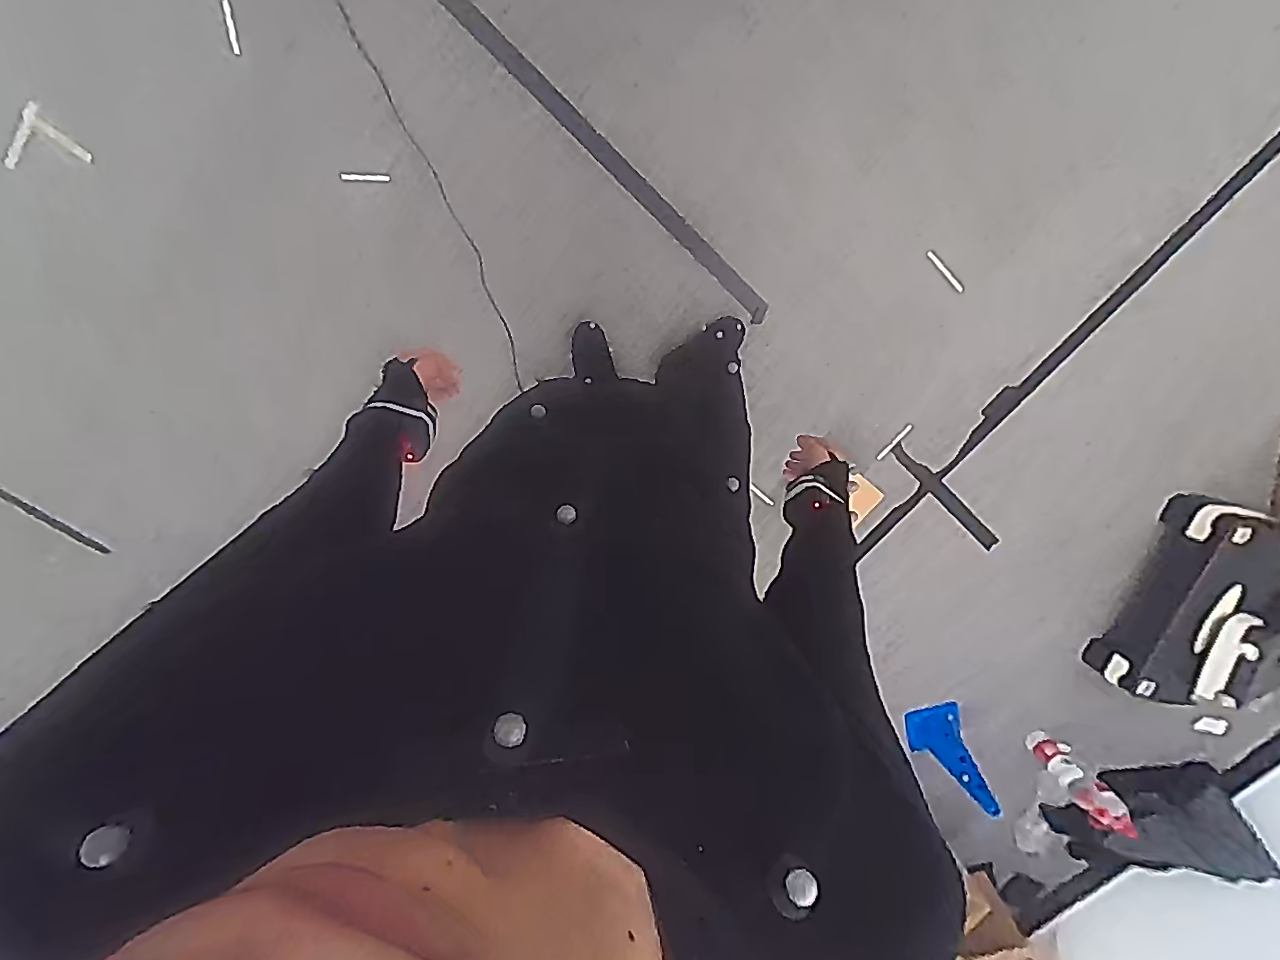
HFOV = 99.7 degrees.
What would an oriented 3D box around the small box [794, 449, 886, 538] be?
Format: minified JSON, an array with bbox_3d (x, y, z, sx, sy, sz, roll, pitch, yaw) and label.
[{"bbox_3d":[0.583,0.036,1.609,0.168,0.176,0.179,37,103,-13],"label":"small box"}]
